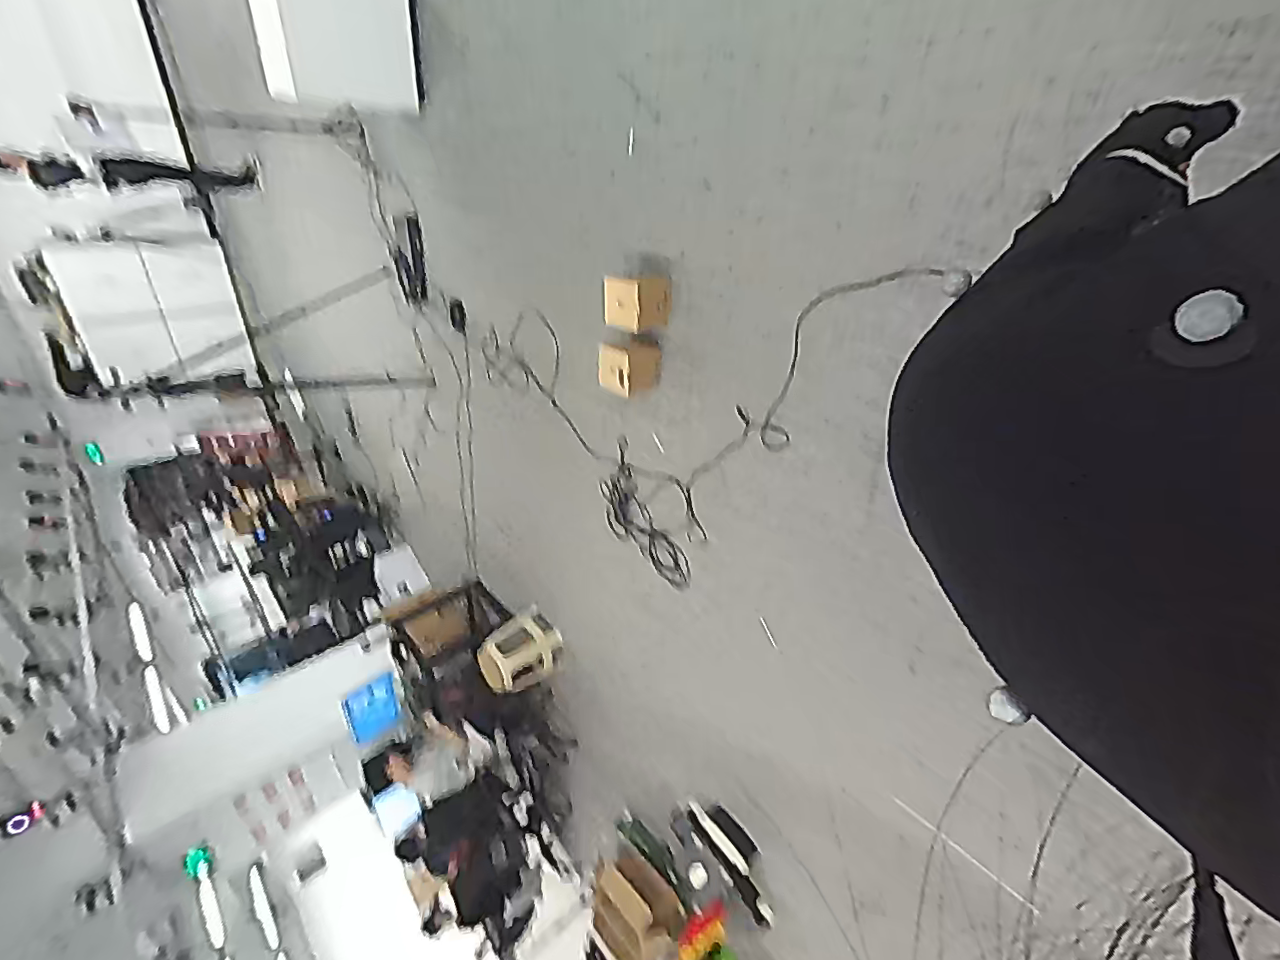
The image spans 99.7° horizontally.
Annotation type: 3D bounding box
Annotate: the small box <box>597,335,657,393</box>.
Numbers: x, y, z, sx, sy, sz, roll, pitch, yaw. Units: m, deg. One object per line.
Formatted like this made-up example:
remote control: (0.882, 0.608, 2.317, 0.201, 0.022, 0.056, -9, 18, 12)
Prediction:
small box: (-0.049, -0.460, 2.111, 0.179, 0.176, 0.168, 30, 130, 37)

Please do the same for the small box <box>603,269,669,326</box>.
small box: (-0.016, -0.667, 1.966, 0.179, 0.176, 0.168, 26, 128, 38)
